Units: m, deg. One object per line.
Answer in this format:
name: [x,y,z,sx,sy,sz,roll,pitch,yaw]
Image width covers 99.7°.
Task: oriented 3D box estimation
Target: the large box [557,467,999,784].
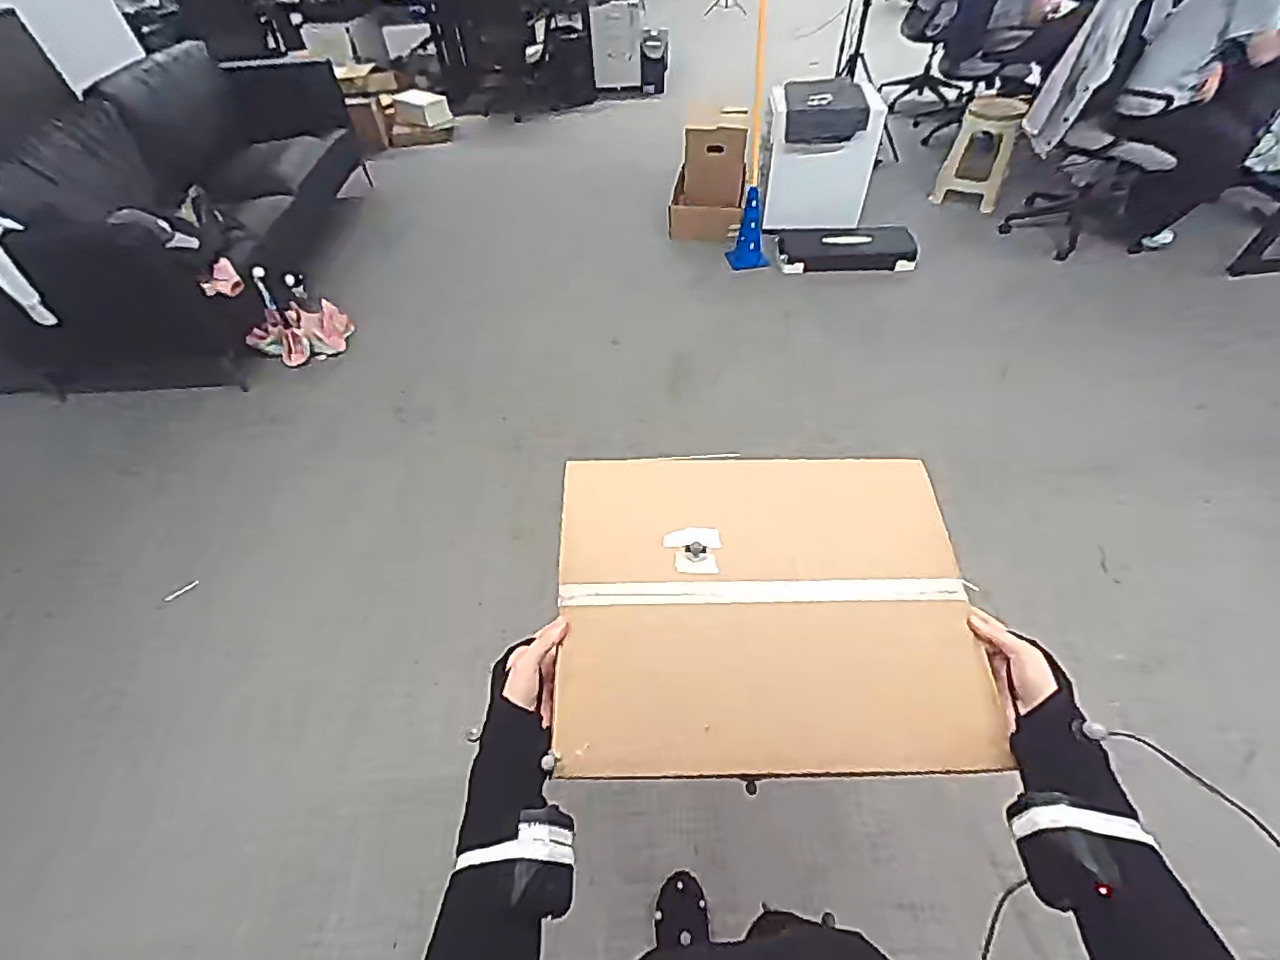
large box: [0.121,0.198,0.679,0.408,0.320,0.320,-1,59,-1]
